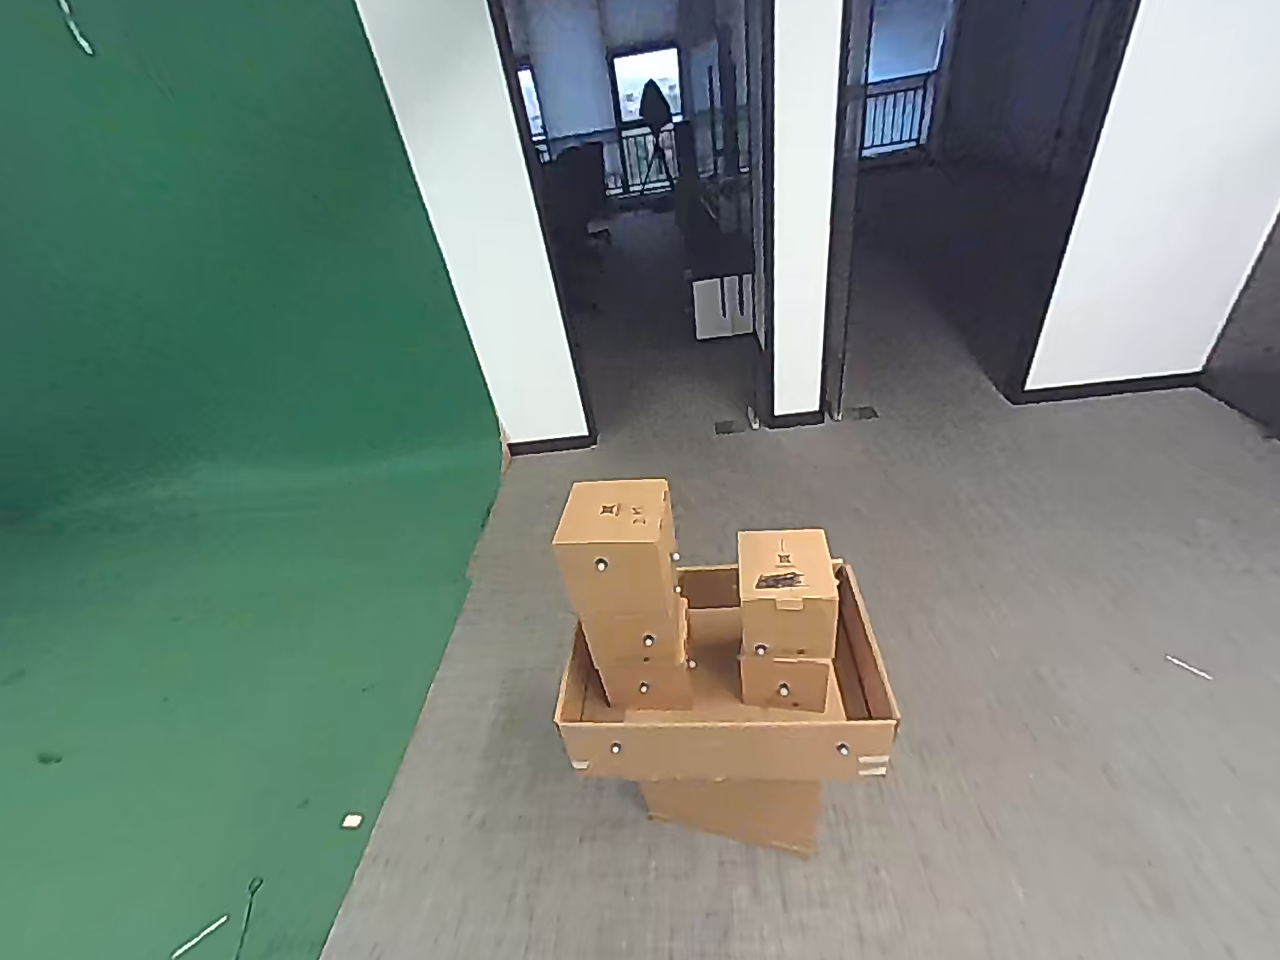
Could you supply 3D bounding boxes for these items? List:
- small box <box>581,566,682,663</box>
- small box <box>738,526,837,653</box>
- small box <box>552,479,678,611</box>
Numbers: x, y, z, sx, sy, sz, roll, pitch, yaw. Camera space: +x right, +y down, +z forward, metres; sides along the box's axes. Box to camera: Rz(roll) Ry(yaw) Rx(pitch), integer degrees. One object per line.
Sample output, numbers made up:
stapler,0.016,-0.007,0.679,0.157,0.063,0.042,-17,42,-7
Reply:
small box,-0.007,0.243,1.063,0.168,0.176,0.179,-4,36,9
small box,0.276,0.210,1.029,0.168,0.176,0.179,-3,36,11
small box,-0.034,0.116,0.961,0.179,0.176,0.168,-2,37,11
